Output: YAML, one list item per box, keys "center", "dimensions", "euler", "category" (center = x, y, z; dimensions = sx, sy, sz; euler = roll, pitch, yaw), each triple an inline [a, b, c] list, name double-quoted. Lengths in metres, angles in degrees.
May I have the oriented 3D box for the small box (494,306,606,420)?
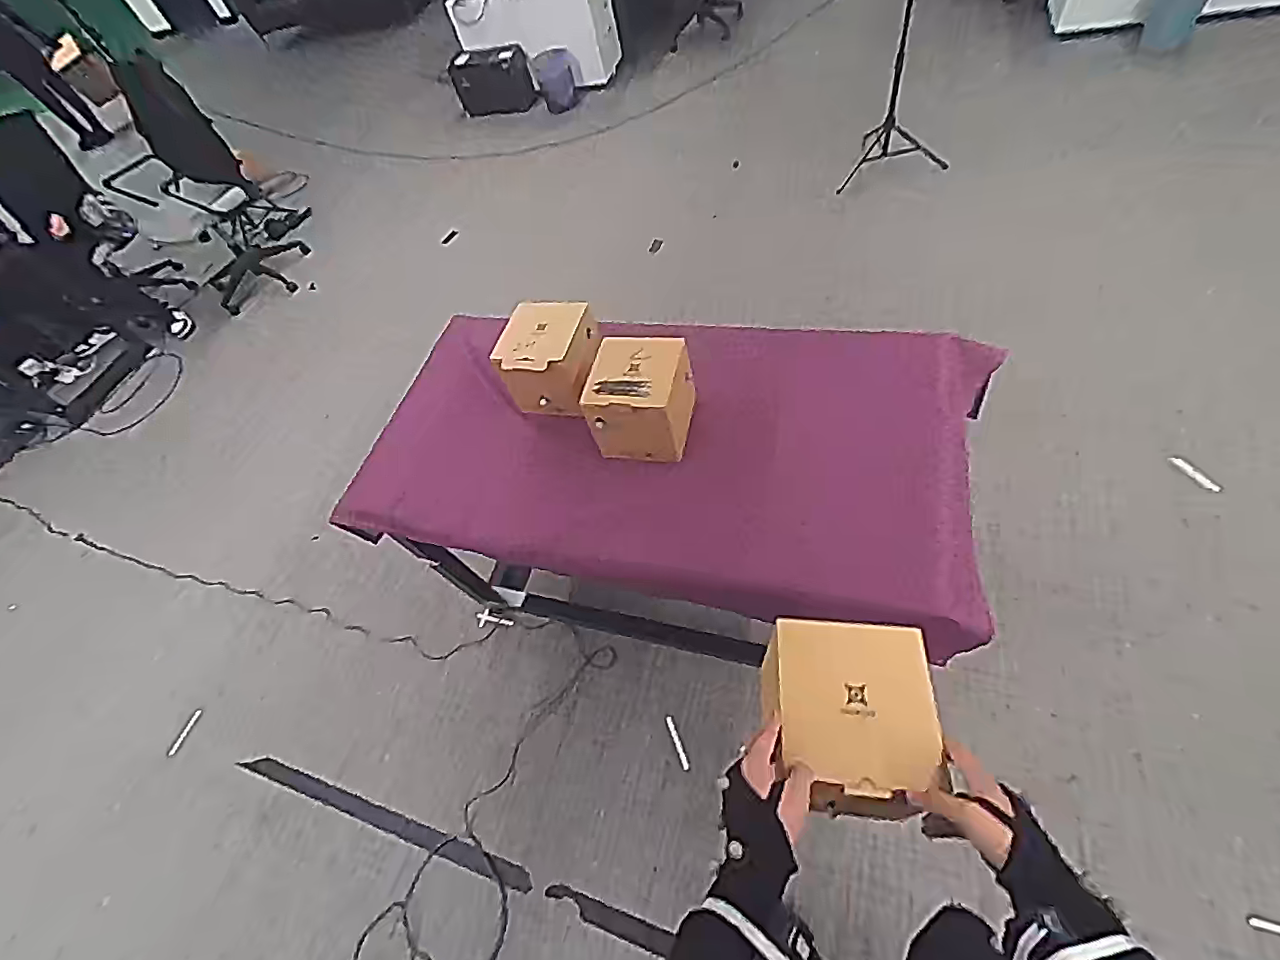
- center: [-0.184, -0.254, 1.176]
  dimensions: [0.168, 0.176, 0.179]
  euler: [6, 59, 18]
  category: "small box"

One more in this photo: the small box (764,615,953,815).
- center: [0.241, 0.283, 0.650]
  dimensions: [0.168, 0.176, 0.179]
  euler: [2, 53, 8]
  category: "small box"
